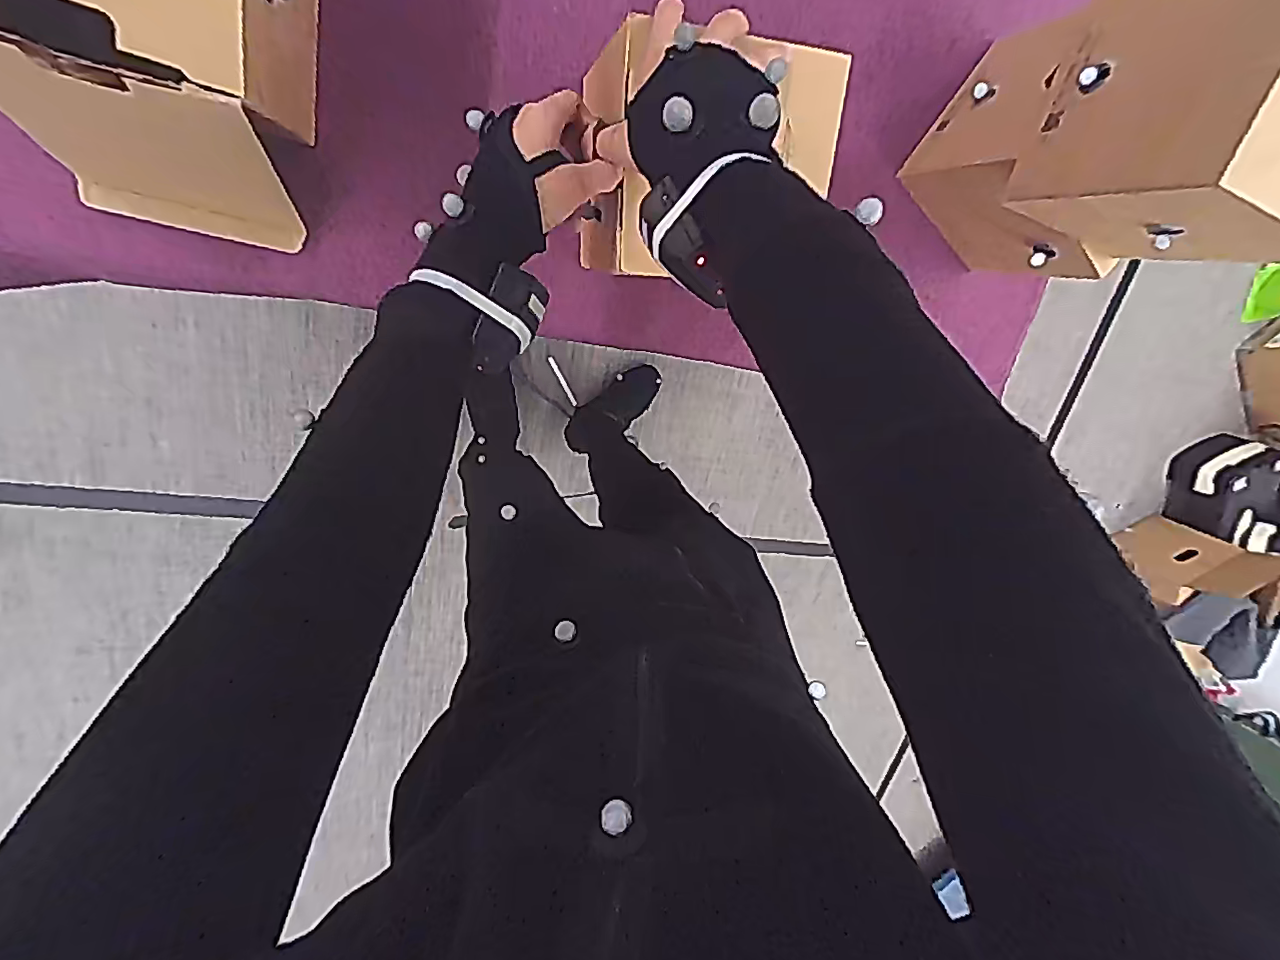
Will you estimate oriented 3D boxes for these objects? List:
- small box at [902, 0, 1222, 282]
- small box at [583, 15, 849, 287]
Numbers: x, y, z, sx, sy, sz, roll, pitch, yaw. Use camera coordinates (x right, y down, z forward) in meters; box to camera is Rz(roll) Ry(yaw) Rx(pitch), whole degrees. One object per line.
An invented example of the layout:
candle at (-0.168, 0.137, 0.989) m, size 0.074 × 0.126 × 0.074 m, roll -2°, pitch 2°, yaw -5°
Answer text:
small box at (0.424, -0.336, 0.566) m, size 0.179 × 0.176 × 0.168 m, roll 32°, pitch 101°, yaw -26°
small box at (0.048, -0.270, 0.485) m, size 0.179 × 0.176 × 0.168 m, roll -2°, pitch 114°, yaw -16°
